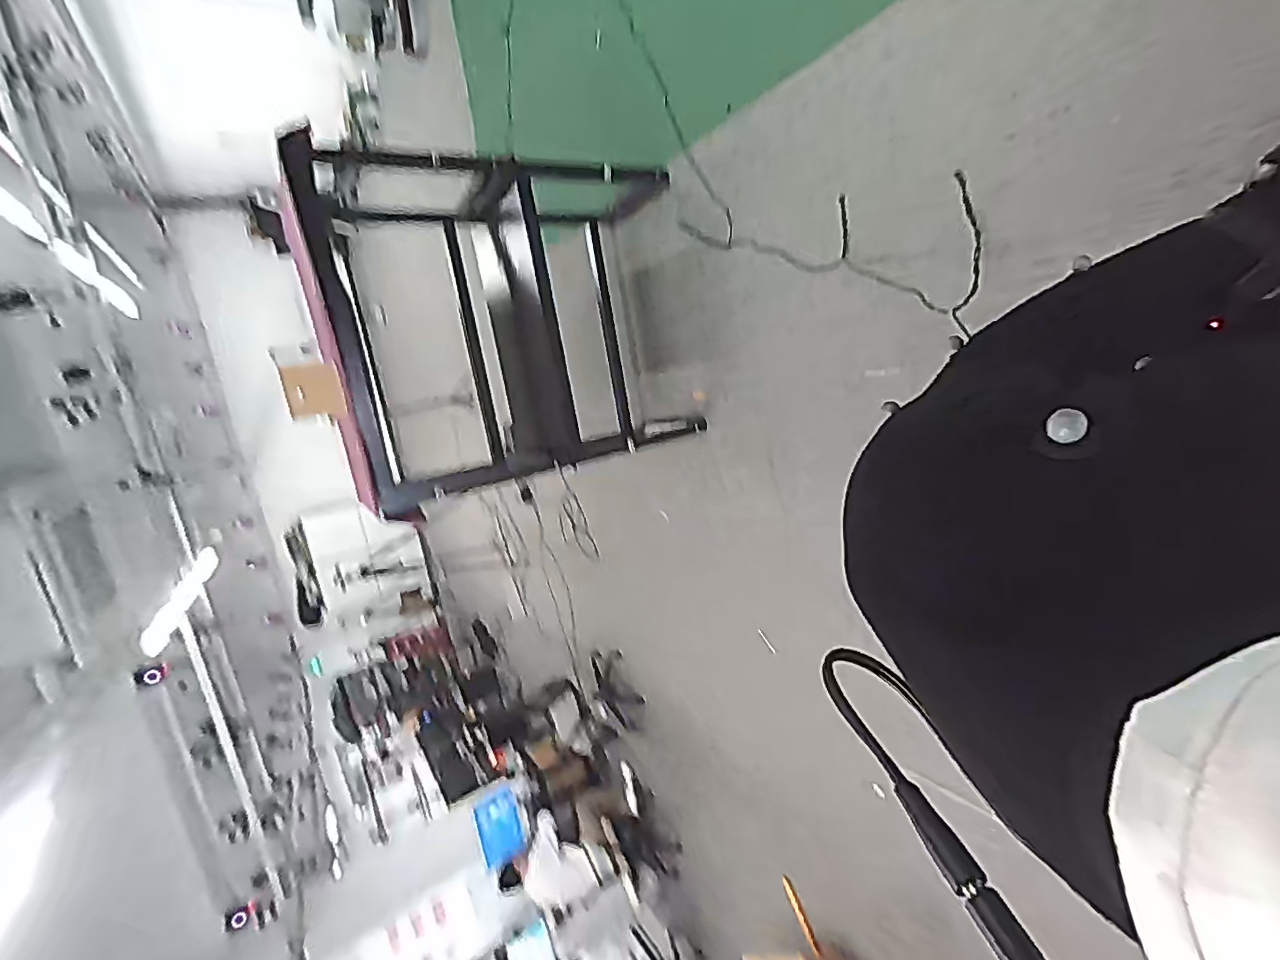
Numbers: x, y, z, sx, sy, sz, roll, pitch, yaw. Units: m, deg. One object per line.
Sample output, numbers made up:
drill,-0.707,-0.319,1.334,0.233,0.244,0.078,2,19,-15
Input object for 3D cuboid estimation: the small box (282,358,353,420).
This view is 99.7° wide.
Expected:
small box,-1.066,-0.302,1.792,0.168,0.176,0.179,12,114,57
